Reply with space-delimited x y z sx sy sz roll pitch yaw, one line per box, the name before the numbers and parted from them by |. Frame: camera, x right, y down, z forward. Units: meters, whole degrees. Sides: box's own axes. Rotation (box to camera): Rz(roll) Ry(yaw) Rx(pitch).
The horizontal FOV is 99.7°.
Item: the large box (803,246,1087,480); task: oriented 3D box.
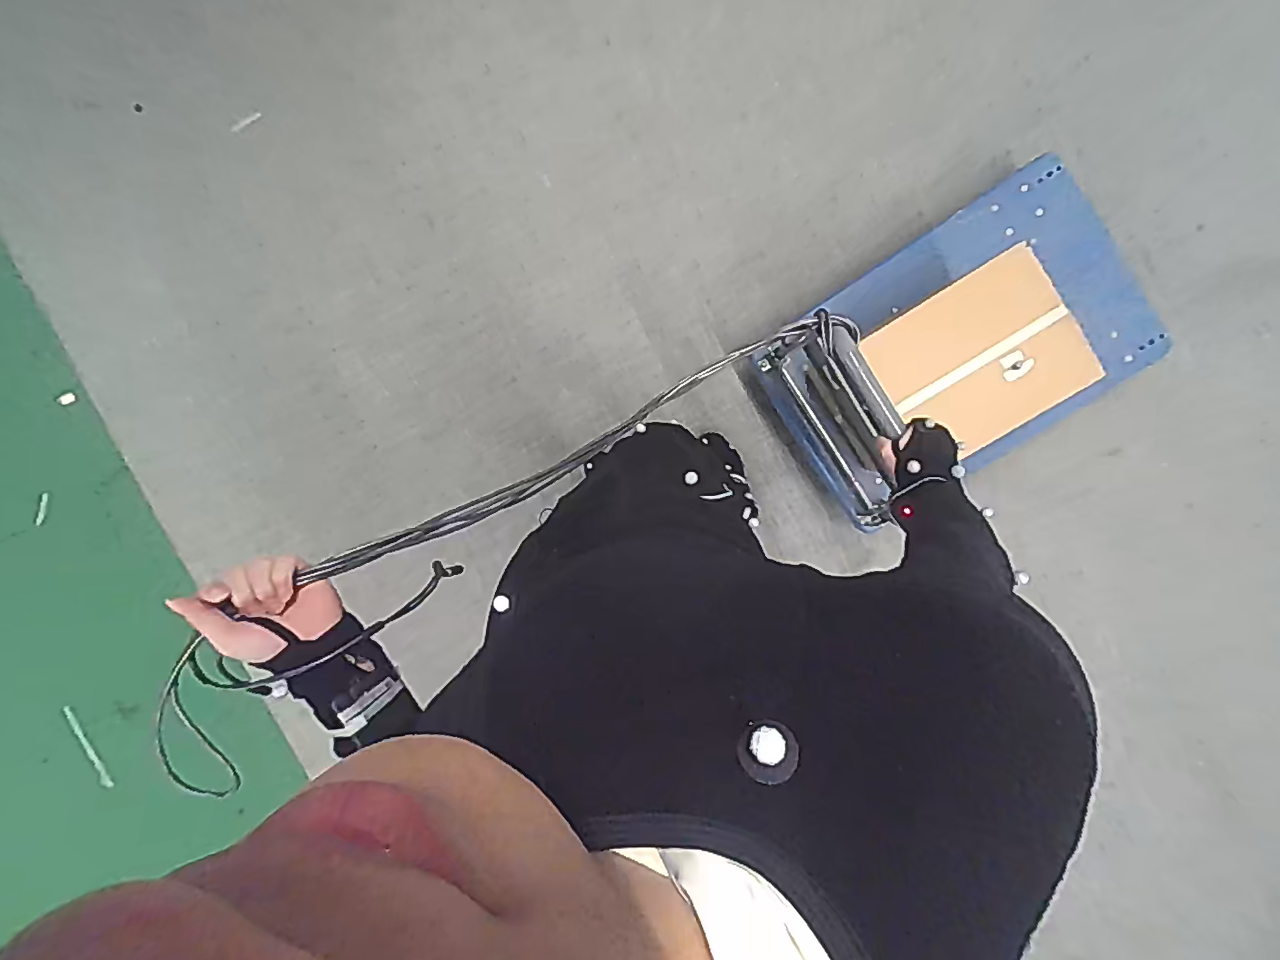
large box | 0.654 -0.240 1.235 0.408 0.320 0.320 -32 93 5
